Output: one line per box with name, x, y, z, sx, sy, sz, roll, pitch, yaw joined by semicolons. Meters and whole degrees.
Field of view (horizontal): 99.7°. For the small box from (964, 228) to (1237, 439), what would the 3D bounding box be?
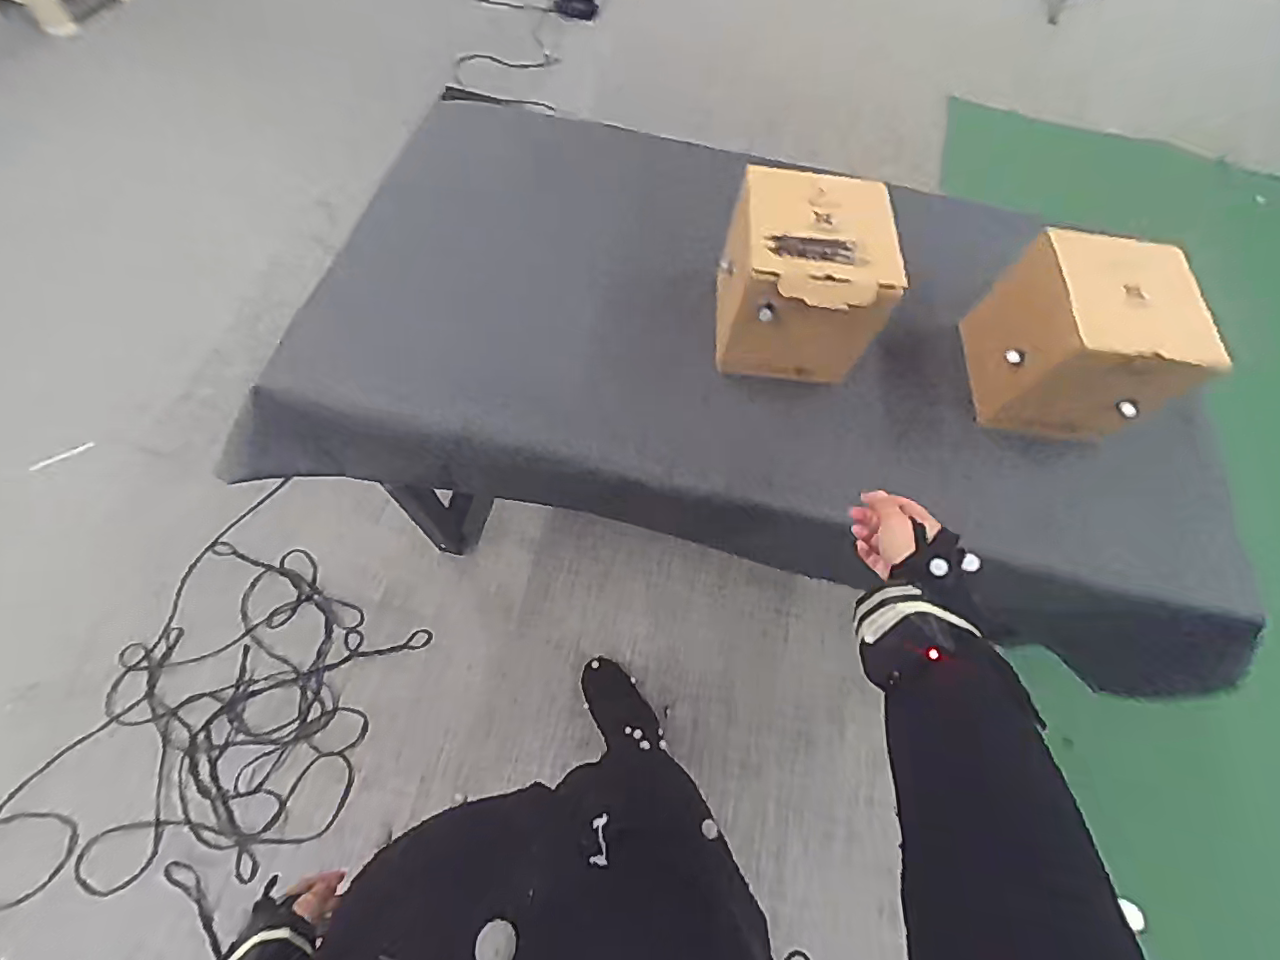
small box;0.534;-0.168;0.660;0.168;0.176;0.179;8;64;-3
